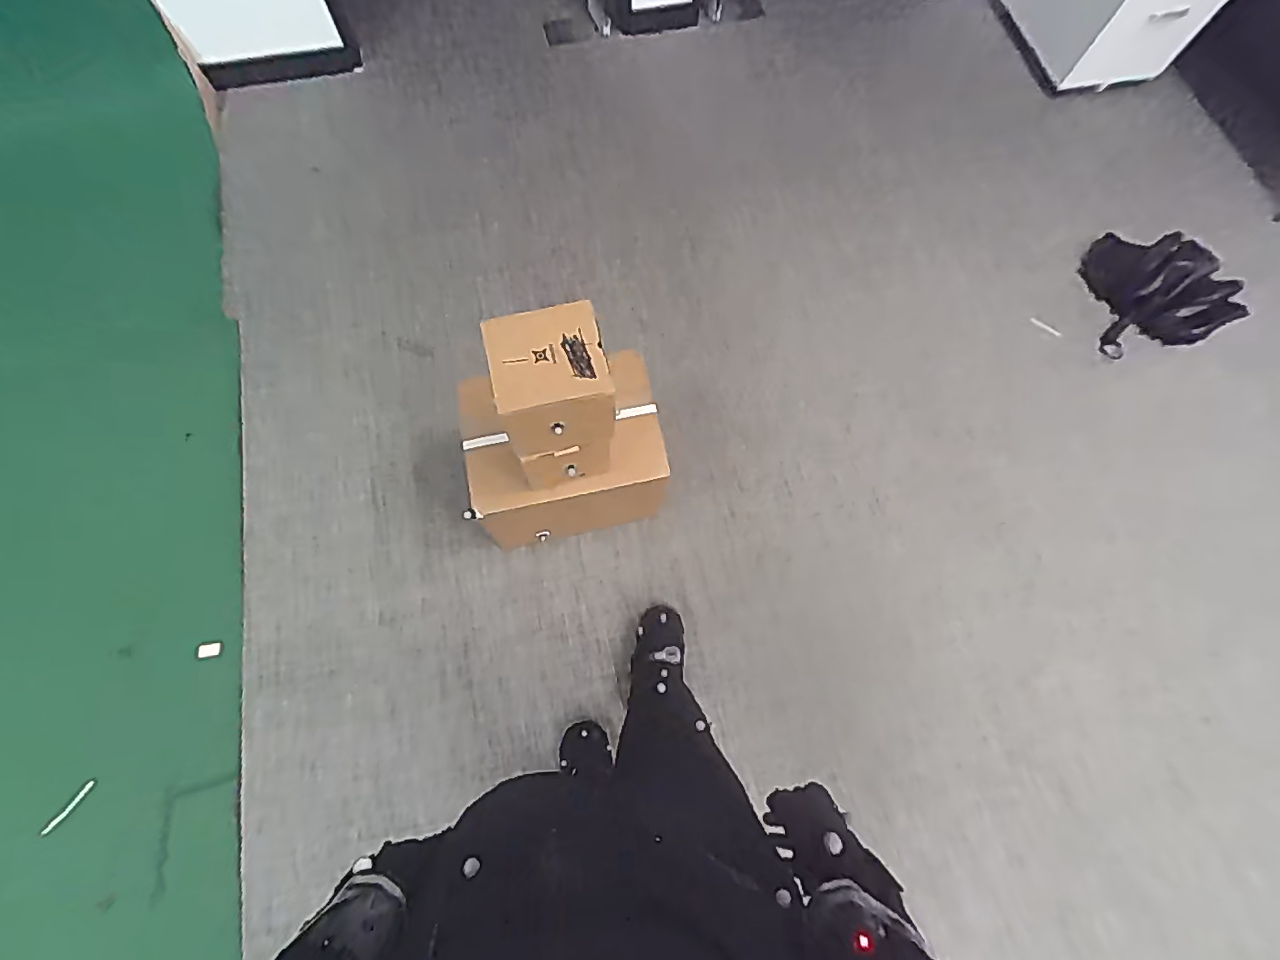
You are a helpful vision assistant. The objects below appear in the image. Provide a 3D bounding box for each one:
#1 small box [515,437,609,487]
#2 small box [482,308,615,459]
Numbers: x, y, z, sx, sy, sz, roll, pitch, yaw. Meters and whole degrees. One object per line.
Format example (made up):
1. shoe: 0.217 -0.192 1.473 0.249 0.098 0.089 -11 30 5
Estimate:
1. small box: -0.157 -0.097 1.036 0.168 0.176 0.179 -15 74 -8
2. small box: -0.142 -0.150 0.880 0.179 0.176 0.168 -12 72 -6
